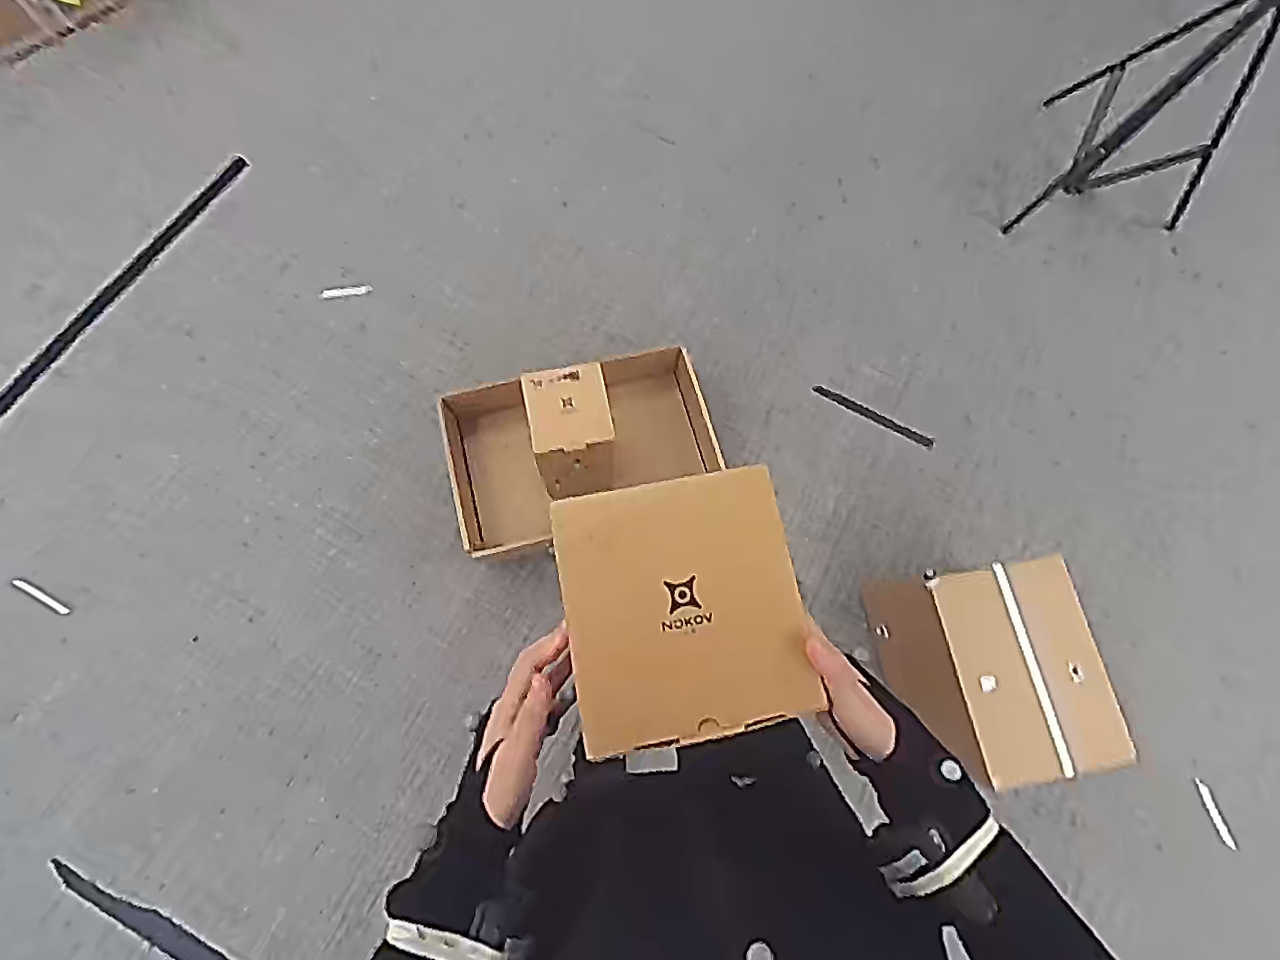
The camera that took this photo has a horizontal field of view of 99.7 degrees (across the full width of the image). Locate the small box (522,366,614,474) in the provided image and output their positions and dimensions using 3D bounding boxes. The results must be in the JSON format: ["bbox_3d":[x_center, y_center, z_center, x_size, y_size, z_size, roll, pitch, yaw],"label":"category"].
[{"bbox_3d":[-0.150,-0.119,1.159,0.168,0.176,0.179,-10,75,-7],"label":"small box"}]

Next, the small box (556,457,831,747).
[{"bbox_3d":[0.031,0.098,0.455,0.168,0.176,0.179,-11,77,-4],"label":"small box"}]
